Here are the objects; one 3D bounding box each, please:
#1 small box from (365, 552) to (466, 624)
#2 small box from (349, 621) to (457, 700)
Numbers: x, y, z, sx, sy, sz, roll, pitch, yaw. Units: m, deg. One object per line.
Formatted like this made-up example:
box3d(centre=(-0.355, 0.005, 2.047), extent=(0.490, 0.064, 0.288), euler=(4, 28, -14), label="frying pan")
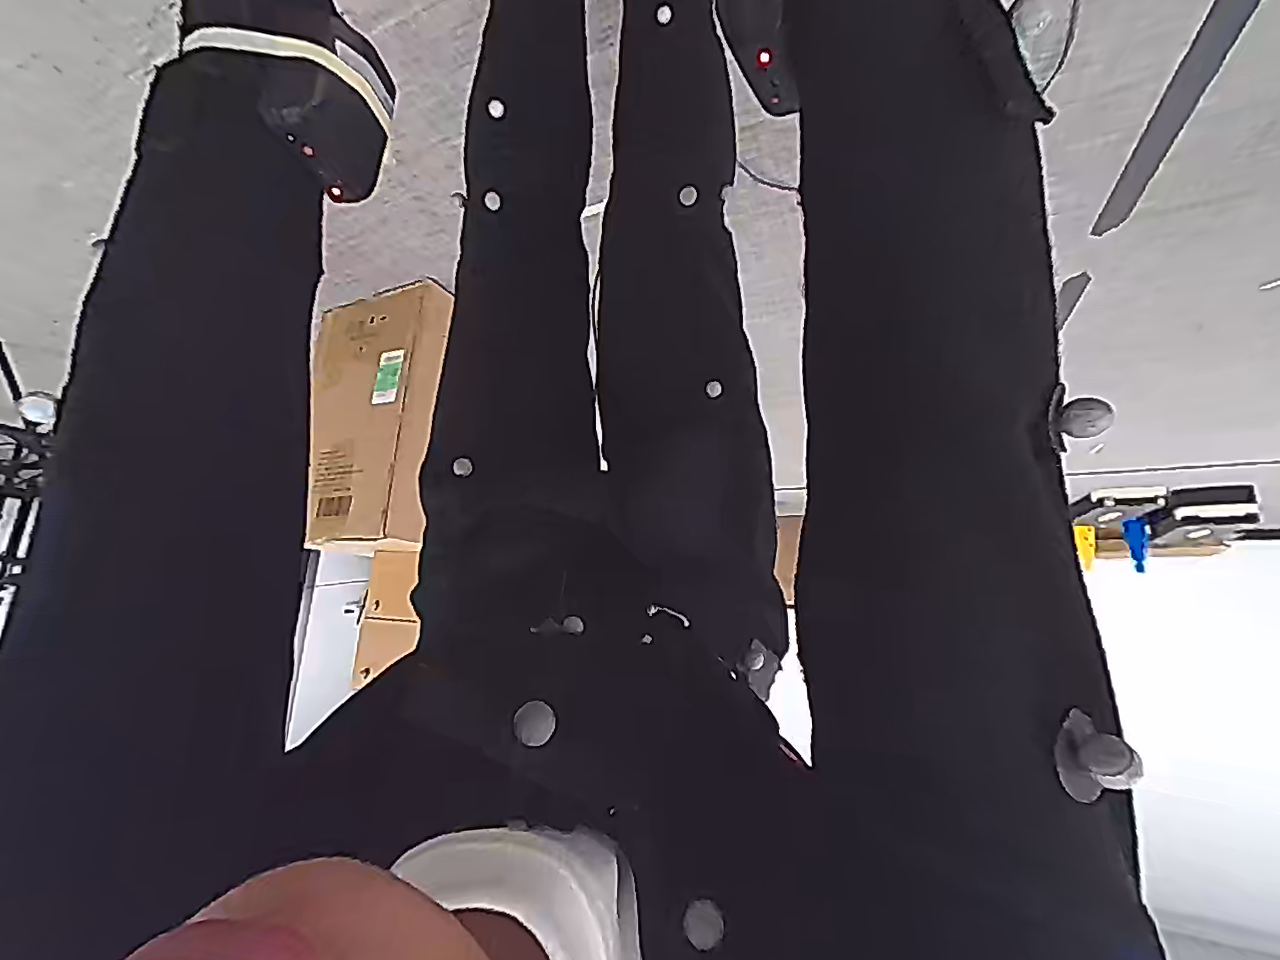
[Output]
box3d(centre=(-0.559, 0.273, 1.368), extent=(0.179, 0.176, 0.168), euler=(-3, 165, 24), label="small box")
box3d(centre=(-0.574, 0.433, 1.330), extent=(0.179, 0.176, 0.168), euler=(-3, 166, 21), label="small box")
